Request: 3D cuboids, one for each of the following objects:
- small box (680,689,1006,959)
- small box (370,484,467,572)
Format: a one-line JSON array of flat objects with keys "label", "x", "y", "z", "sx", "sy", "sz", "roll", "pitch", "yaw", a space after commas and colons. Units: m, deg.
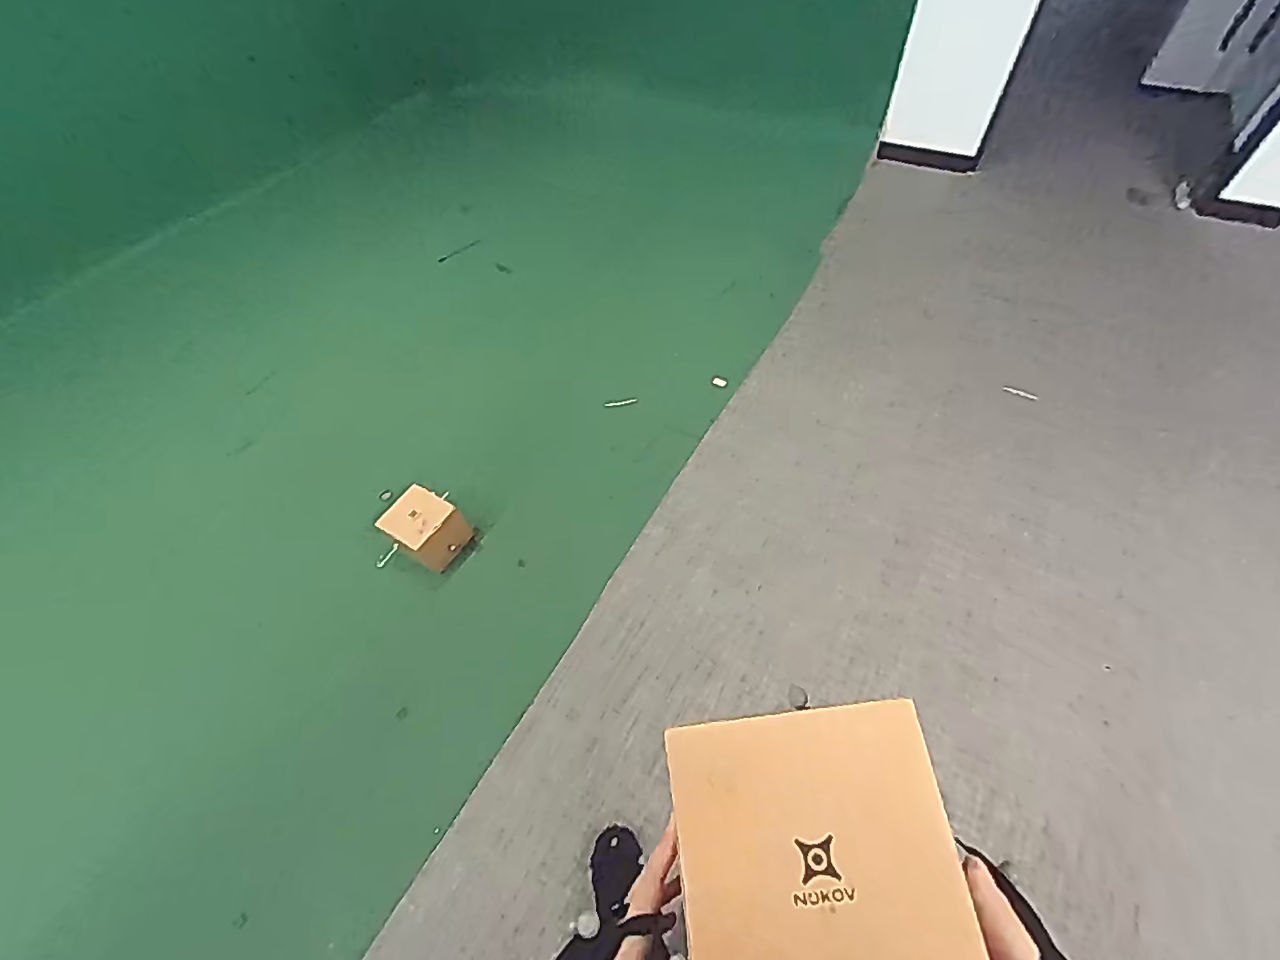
[{"label": "small box", "x": 0.119, "y": 0.256, "z": 0.390, "sx": 0.168, "sy": 0.176, "sz": 0.179, "roll": -7, "pitch": 66, "yaw": 2}, {"label": "small box", "x": -0.653, "y": 0.148, "z": 1.613, "sx": 0.179, "sy": 0.176, "sz": 0.168, "roll": 26, "pitch": 61, "yaw": 20}]
